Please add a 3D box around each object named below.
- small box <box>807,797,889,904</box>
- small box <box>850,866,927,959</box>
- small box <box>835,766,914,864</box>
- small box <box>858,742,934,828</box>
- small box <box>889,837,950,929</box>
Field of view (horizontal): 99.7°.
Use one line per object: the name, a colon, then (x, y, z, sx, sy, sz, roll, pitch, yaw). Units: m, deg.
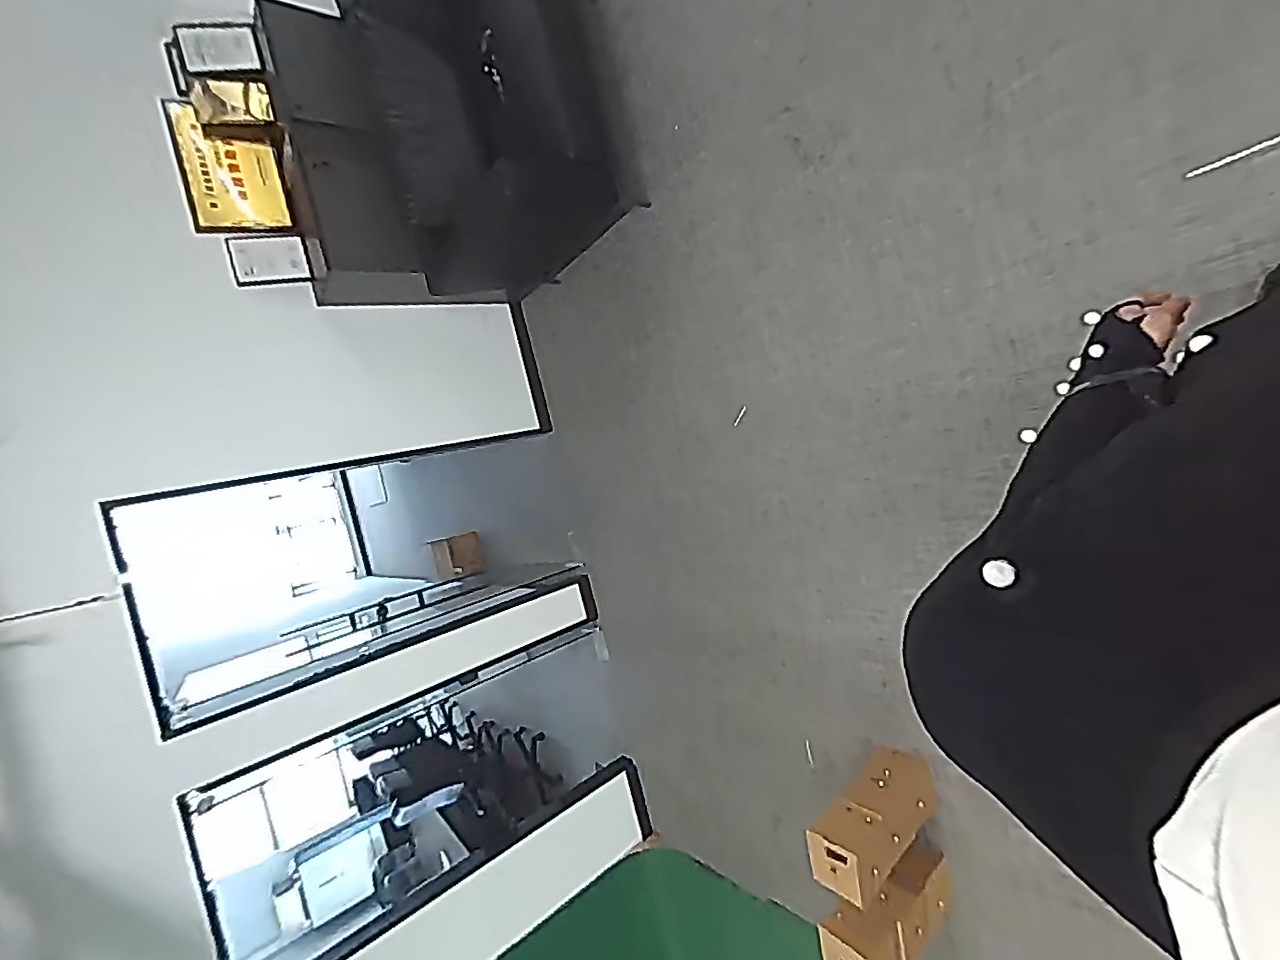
small box: (0.635, 1.112, 1.644, 0.168, 0.176, 0.179, -1, 102, 52)
small box: (0.819, 1.405, 1.772, 0.179, 0.176, 0.168, -2, 99, 53)
small box: (0.759, 1.071, 1.742, 0.168, 0.176, 0.179, -4, 98, 52)
small box: (0.879, 1.040, 1.850, 0.168, 0.176, 0.179, -7, 96, 53)
small box: (0.949, 1.377, 1.872, 0.179, 0.176, 0.168, -4, 98, 54)
